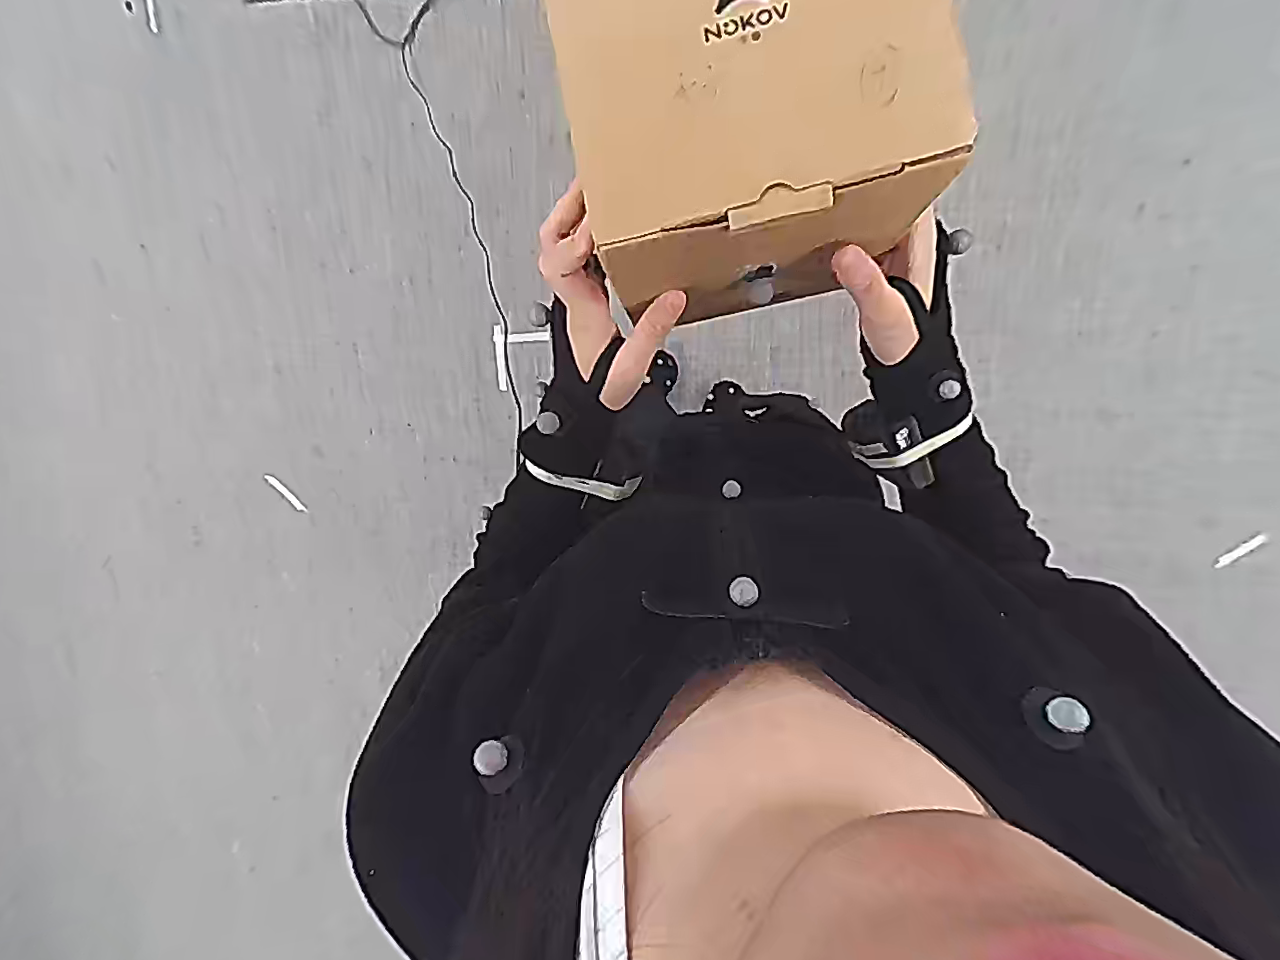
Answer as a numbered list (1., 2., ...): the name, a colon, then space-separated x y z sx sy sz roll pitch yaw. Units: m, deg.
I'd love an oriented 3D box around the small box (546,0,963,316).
1. small box: 0.052 -0.207 0.313 0.168 0.176 0.179 -11 91 7
